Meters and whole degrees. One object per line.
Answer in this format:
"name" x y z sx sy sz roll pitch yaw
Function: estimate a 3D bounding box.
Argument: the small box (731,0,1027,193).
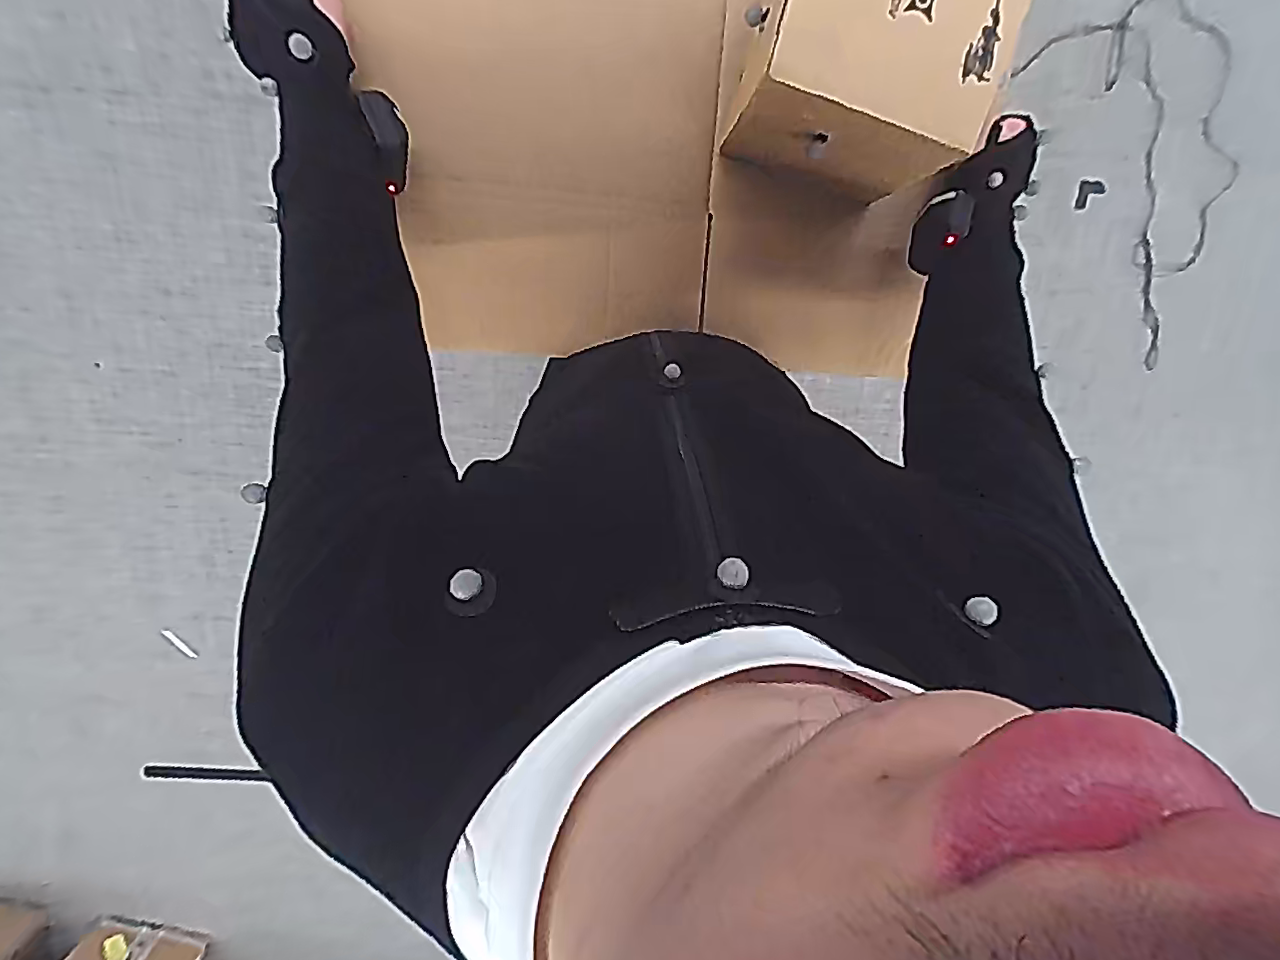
"small box" 0.195 -0.377 0.474 0.179 0.176 0.168 15 104 -7
